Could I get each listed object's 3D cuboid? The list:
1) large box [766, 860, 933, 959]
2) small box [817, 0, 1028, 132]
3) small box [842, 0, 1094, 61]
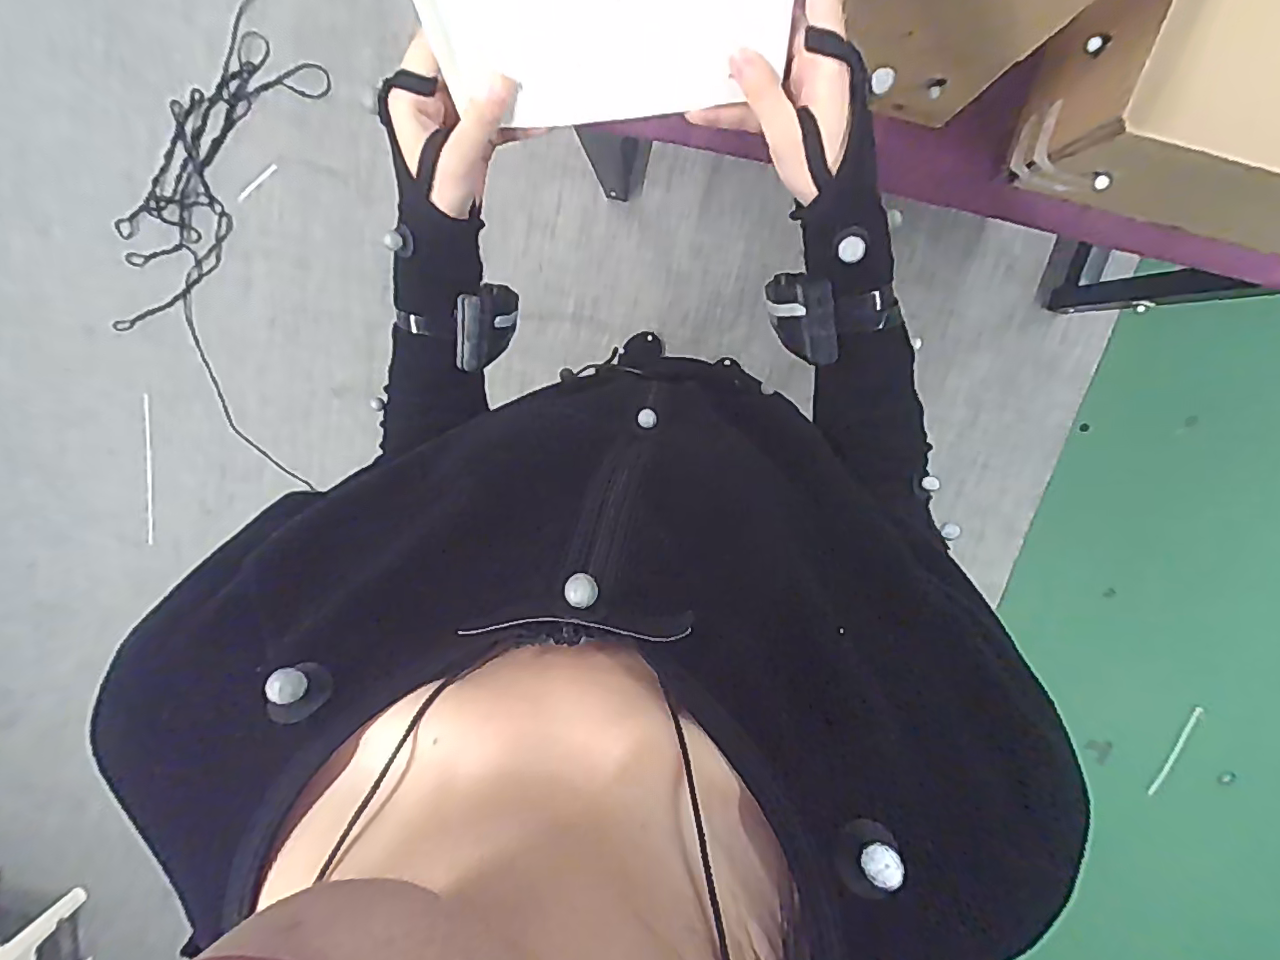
[{"bbox_3d":[0.608,1.419,1.643,0.408,0.320,0.320,-1,103,3],"label":"large box"},{"bbox_3d":[0.297,-0.495,0.552,0.168,0.176,0.179,15,102,0],"label":"small box"},{"bbox_3d":[0.278,-0.452,0.395,0.179,0.176,0.168,15,102,0],"label":"small box"}]
